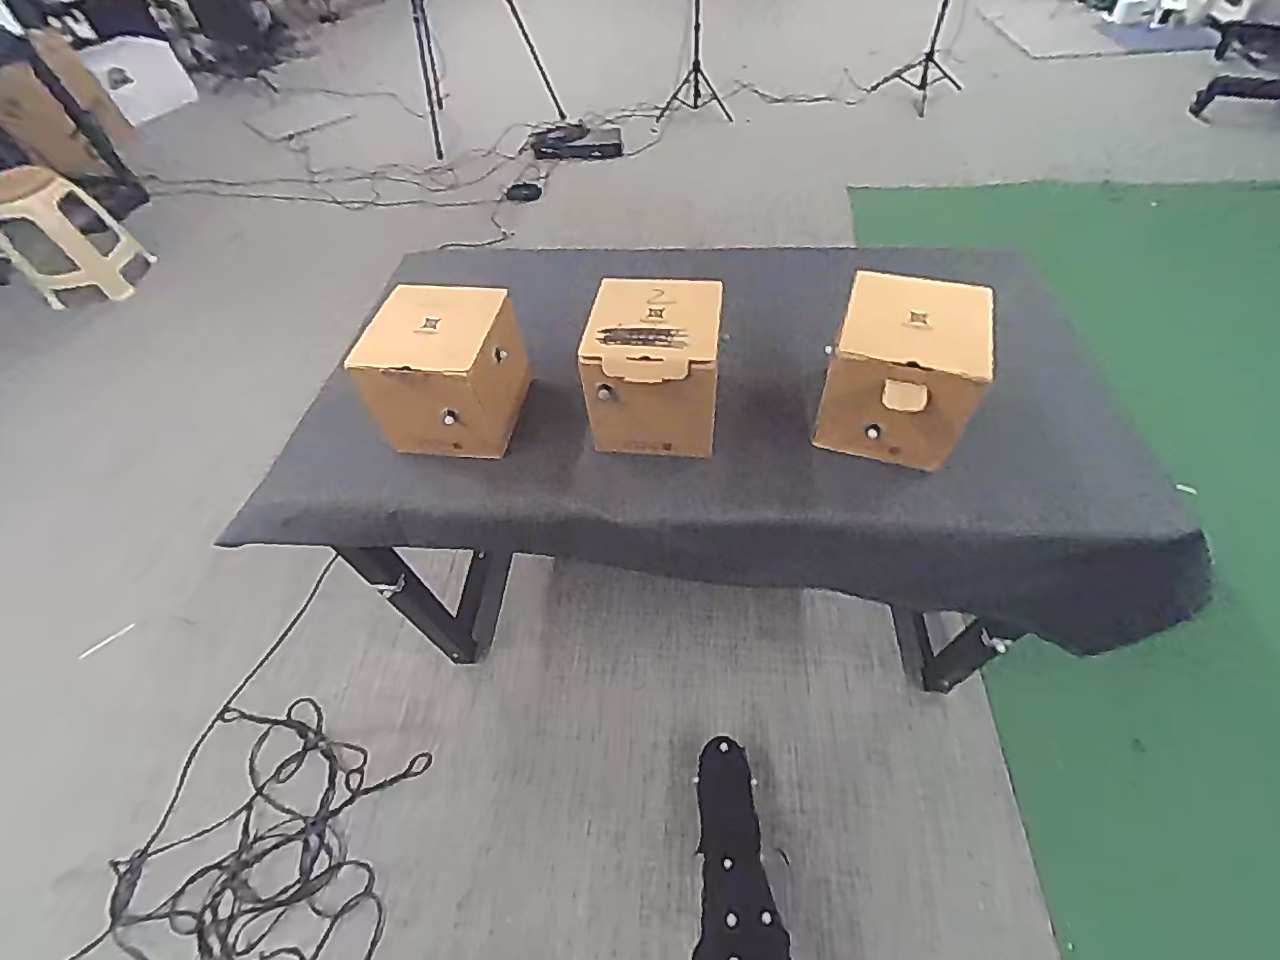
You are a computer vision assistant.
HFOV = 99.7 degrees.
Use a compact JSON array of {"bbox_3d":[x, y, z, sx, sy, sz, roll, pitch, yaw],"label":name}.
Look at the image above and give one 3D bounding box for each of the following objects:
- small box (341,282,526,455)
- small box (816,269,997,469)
[{"bbox_3d":[-0.270,-0.154,0.760,0.168,0.176,0.179,5,52,6],"label":"small box"},{"bbox_3d":[0.340,-0.144,0.710,0.168,0.176,0.179,15,56,14],"label":"small box"}]
